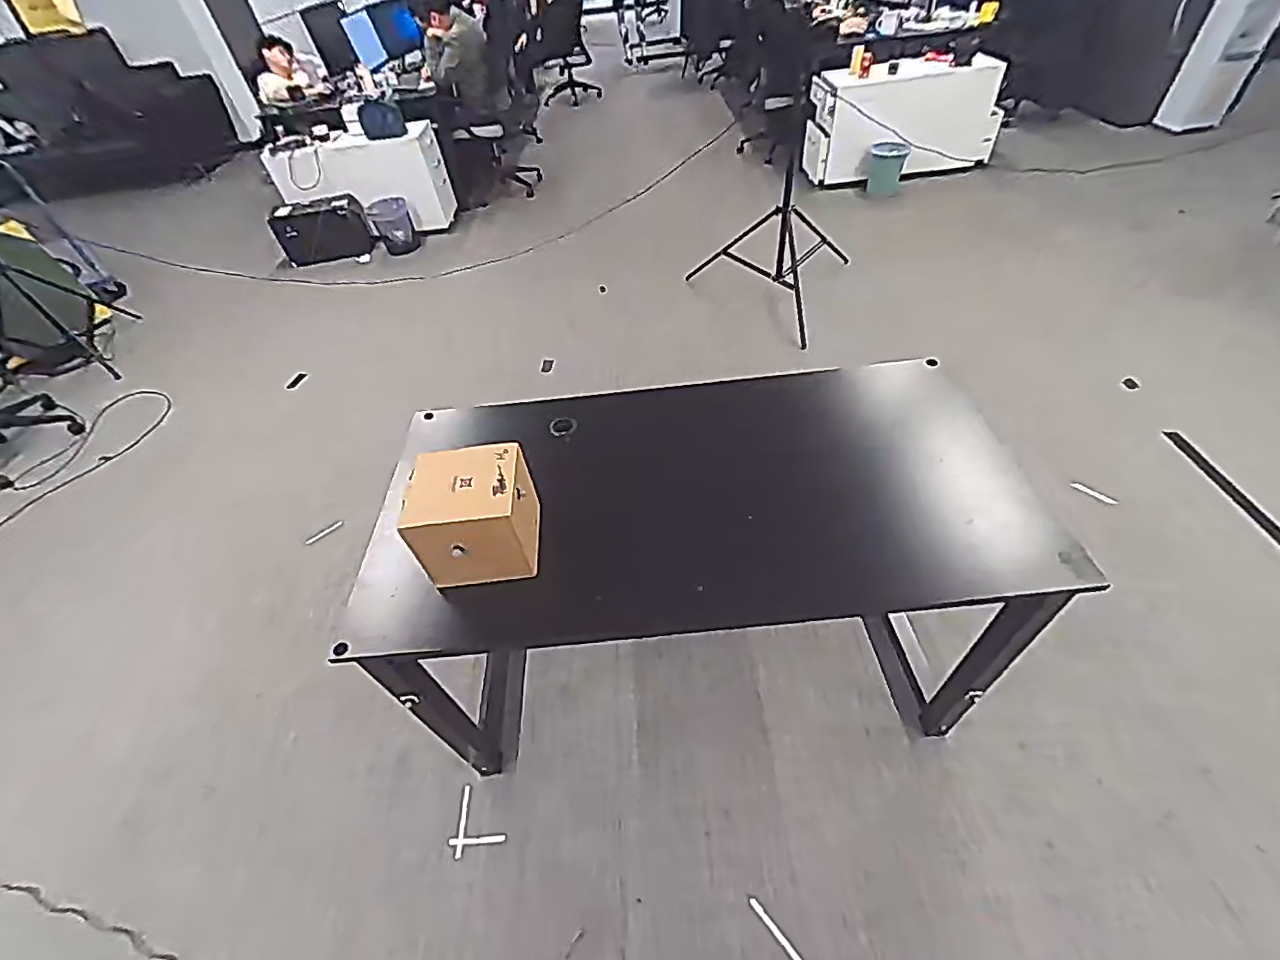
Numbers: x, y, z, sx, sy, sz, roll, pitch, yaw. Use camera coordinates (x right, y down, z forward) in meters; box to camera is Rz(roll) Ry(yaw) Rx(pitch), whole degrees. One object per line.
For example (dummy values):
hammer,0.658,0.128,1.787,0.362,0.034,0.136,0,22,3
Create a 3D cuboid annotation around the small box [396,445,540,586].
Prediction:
small box,-0.279,0.064,0.922,0.179,0.176,0.168,-8,47,1
